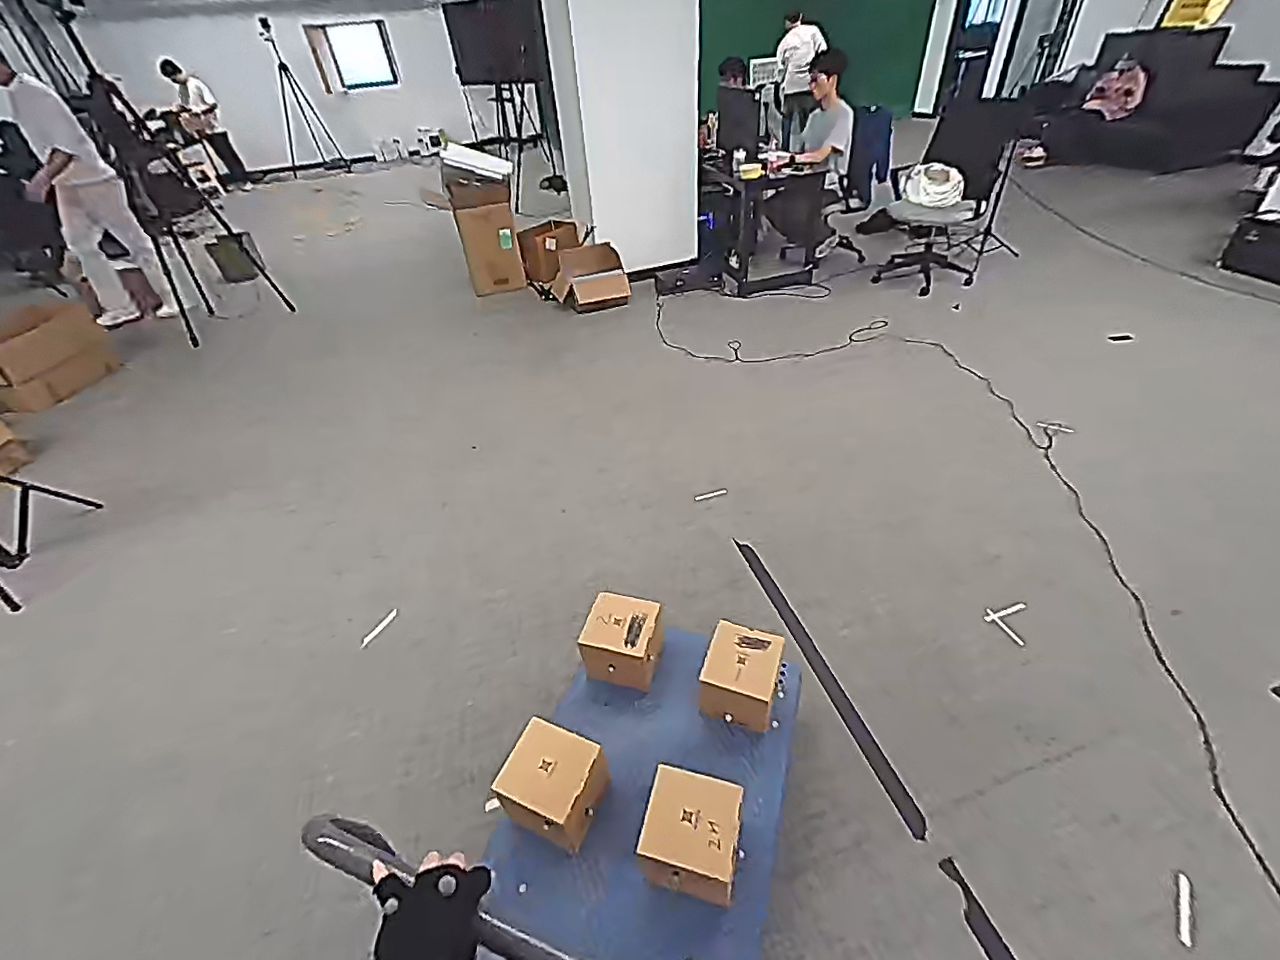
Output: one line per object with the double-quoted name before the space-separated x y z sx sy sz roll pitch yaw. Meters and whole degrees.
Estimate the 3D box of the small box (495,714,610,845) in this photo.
"small box" -0.182 0.652 1.175 0.179 0.176 0.168 14 43 20

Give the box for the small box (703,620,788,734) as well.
"small box" 0.257 0.481 1.325 0.168 0.176 0.179 12 44 20

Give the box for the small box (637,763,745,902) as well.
"small box" 0.107 0.703 1.077 0.179 0.176 0.168 8 42 17
